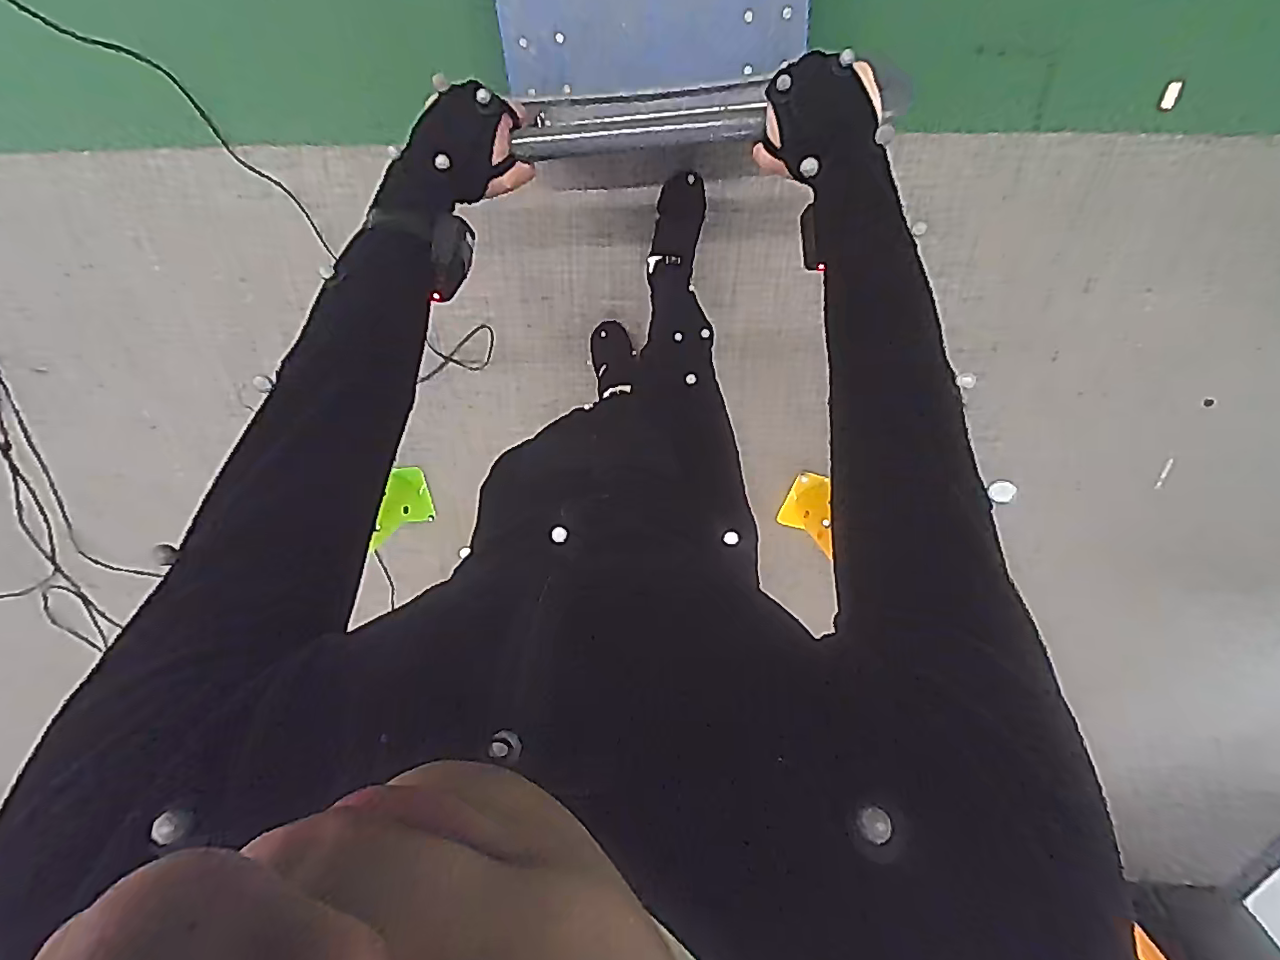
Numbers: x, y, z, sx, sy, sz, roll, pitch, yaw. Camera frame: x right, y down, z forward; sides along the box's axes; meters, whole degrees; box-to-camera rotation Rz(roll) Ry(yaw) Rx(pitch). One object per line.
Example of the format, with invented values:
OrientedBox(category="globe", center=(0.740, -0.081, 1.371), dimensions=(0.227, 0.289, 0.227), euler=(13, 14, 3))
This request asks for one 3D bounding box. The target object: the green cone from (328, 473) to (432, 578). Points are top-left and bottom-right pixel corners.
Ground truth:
OrientedBox(category="green cone", center=(-0.785, 0.150, 1.570), dimensions=(0.202, 0.368, 0.200), euler=(-3, 119, 5))
